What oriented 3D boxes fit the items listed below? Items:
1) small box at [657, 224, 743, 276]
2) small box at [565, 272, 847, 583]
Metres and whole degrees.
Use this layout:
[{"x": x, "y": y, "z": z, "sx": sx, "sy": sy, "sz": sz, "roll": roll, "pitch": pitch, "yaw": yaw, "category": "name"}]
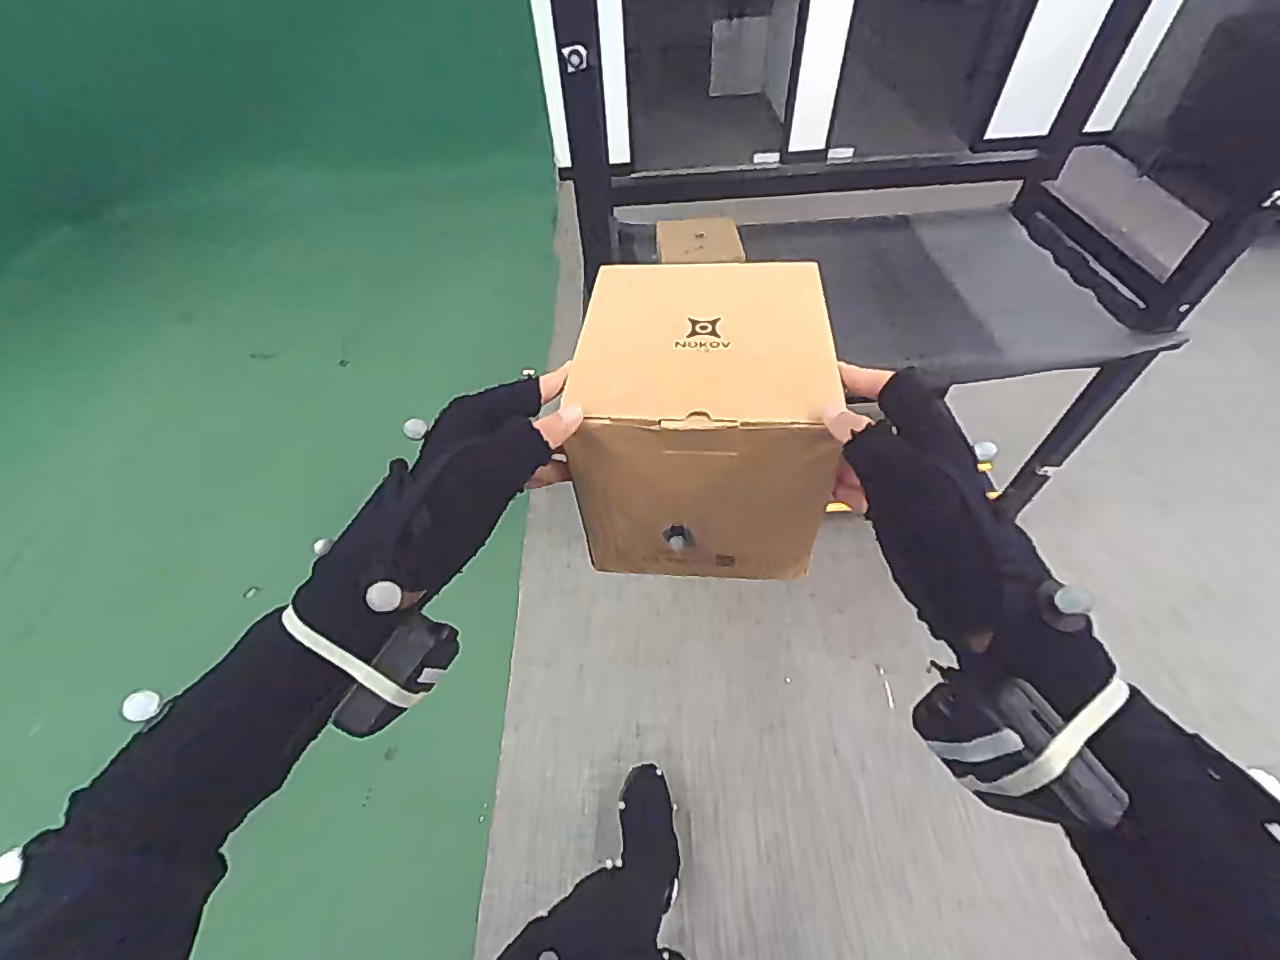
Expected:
[{"x": 0.123, "y": -0.434, "z": 1.182, "sx": 0.168, "sy": 0.176, "sz": 0.179, "roll": -4, "pitch": 51, "yaw": 0, "category": "small box"}, {"x": 0.049, "y": -0.042, "z": 0.423, "sx": 0.168, "sy": 0.176, "sz": 0.179, "roll": 2, "pitch": 50, "yaw": 7, "category": "small box"}]
